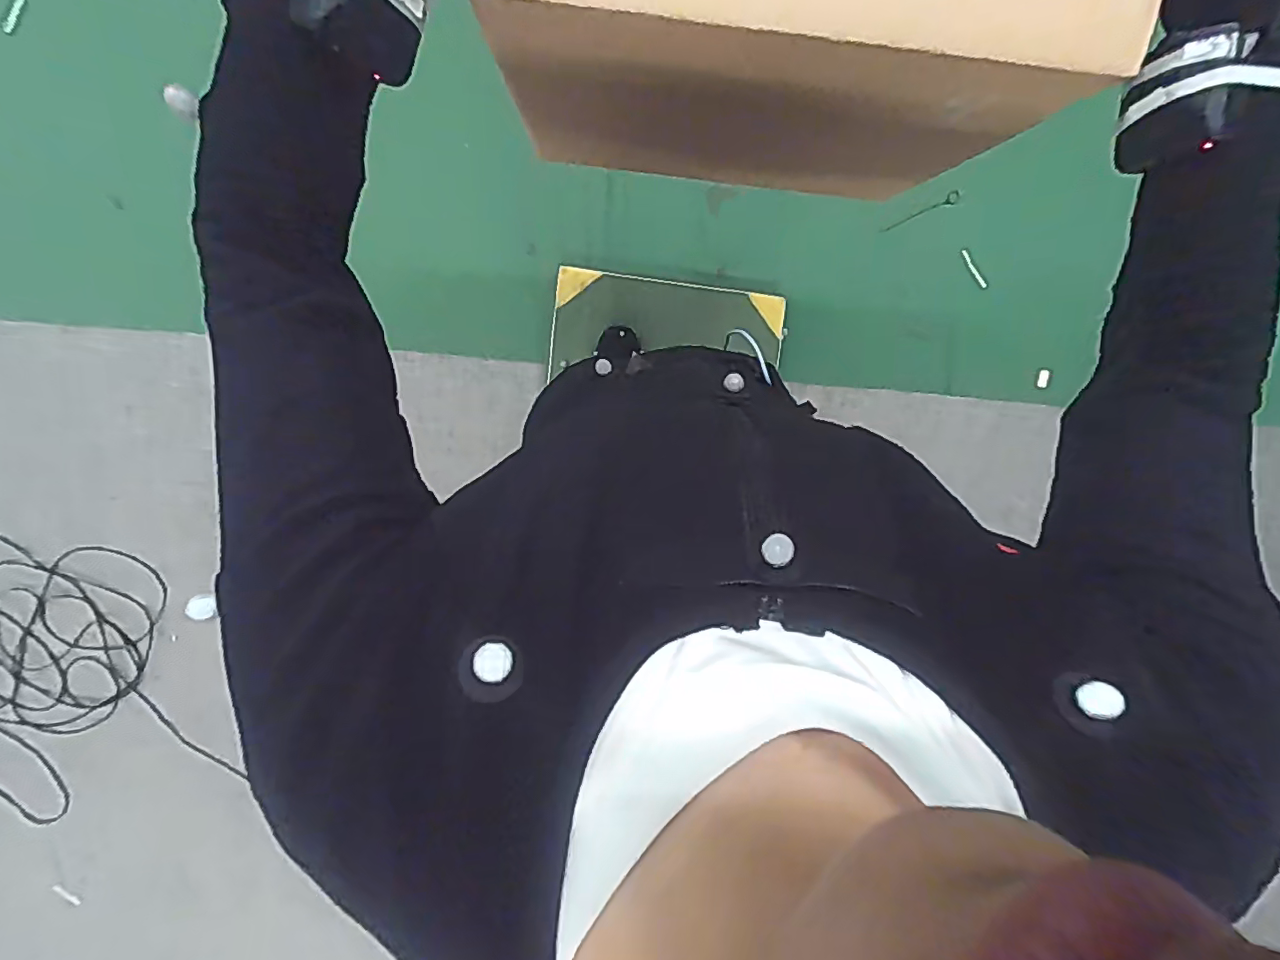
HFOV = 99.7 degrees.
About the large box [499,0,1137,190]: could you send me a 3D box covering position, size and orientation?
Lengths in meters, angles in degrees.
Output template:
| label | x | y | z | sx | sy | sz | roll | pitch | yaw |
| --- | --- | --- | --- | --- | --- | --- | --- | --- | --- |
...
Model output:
| label | x | y | z | sx | sy | sz | roll | pitch | yaw |
| --- | --- | --- | --- | --- | --- | --- | --- | --- | --- |
| large box | 0.110 | -0.457 | 0.435 | 0.408 | 0.320 | 0.320 | 4 | 105 | -4 |
